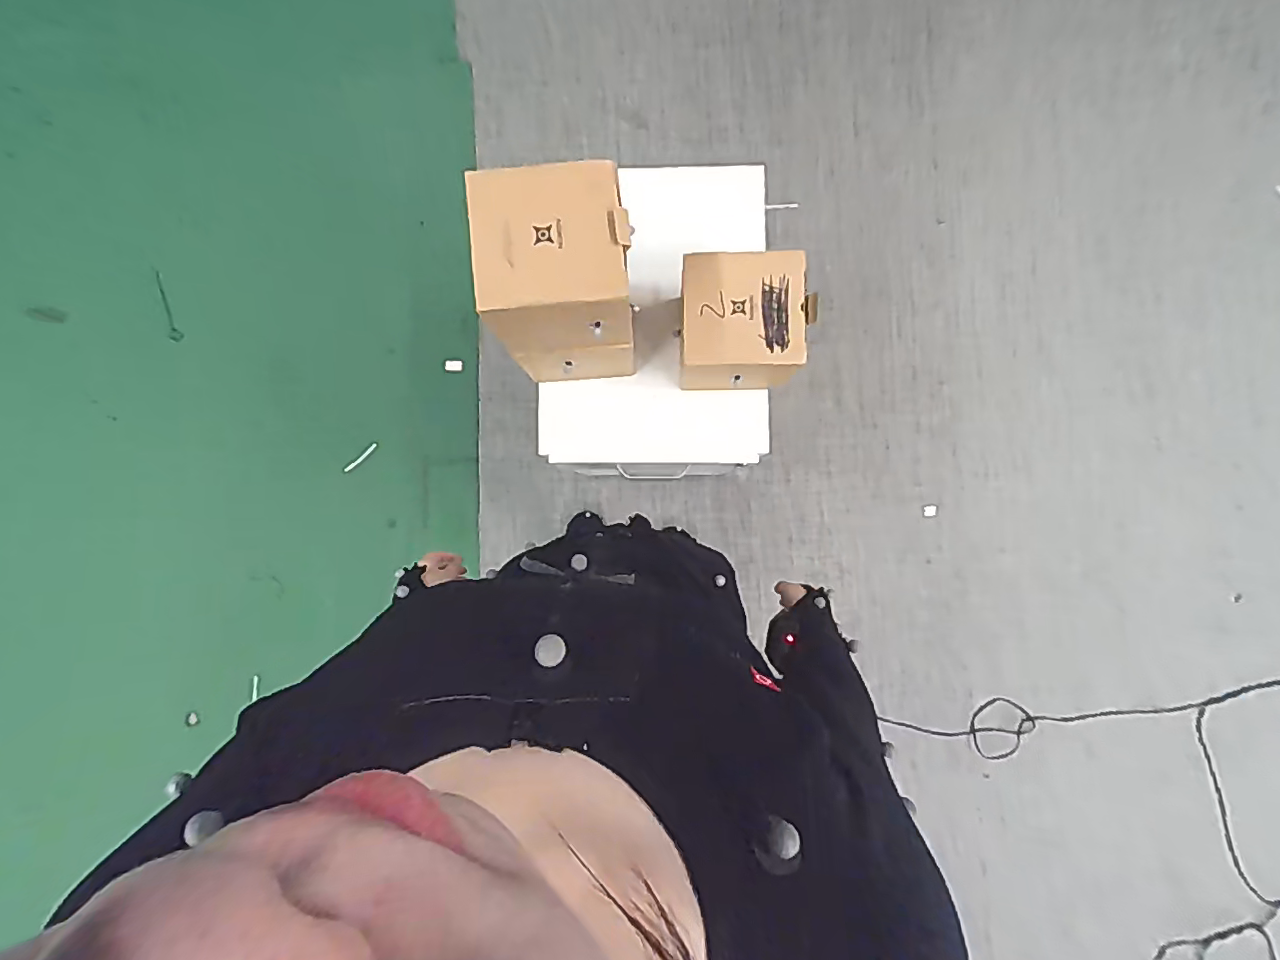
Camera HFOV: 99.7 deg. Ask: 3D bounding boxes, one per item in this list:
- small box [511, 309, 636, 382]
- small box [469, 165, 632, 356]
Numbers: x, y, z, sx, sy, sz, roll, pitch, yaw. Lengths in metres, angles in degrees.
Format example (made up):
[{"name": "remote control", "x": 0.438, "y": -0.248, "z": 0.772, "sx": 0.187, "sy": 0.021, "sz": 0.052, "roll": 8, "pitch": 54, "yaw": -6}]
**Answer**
[{"name": "small box", "x": -0.102, "y": -0.257, "z": 0.858, "sx": 0.179, "sy": 0.176, "sz": 0.168, "roll": -5, "pitch": 87, "yaw": 1}, {"name": "small box", "x": -0.104, "y": -0.268, "z": 0.695, "sx": 0.179, "sy": 0.176, "sz": 0.168, "roll": -6, "pitch": 86, "yaw": 0}]
